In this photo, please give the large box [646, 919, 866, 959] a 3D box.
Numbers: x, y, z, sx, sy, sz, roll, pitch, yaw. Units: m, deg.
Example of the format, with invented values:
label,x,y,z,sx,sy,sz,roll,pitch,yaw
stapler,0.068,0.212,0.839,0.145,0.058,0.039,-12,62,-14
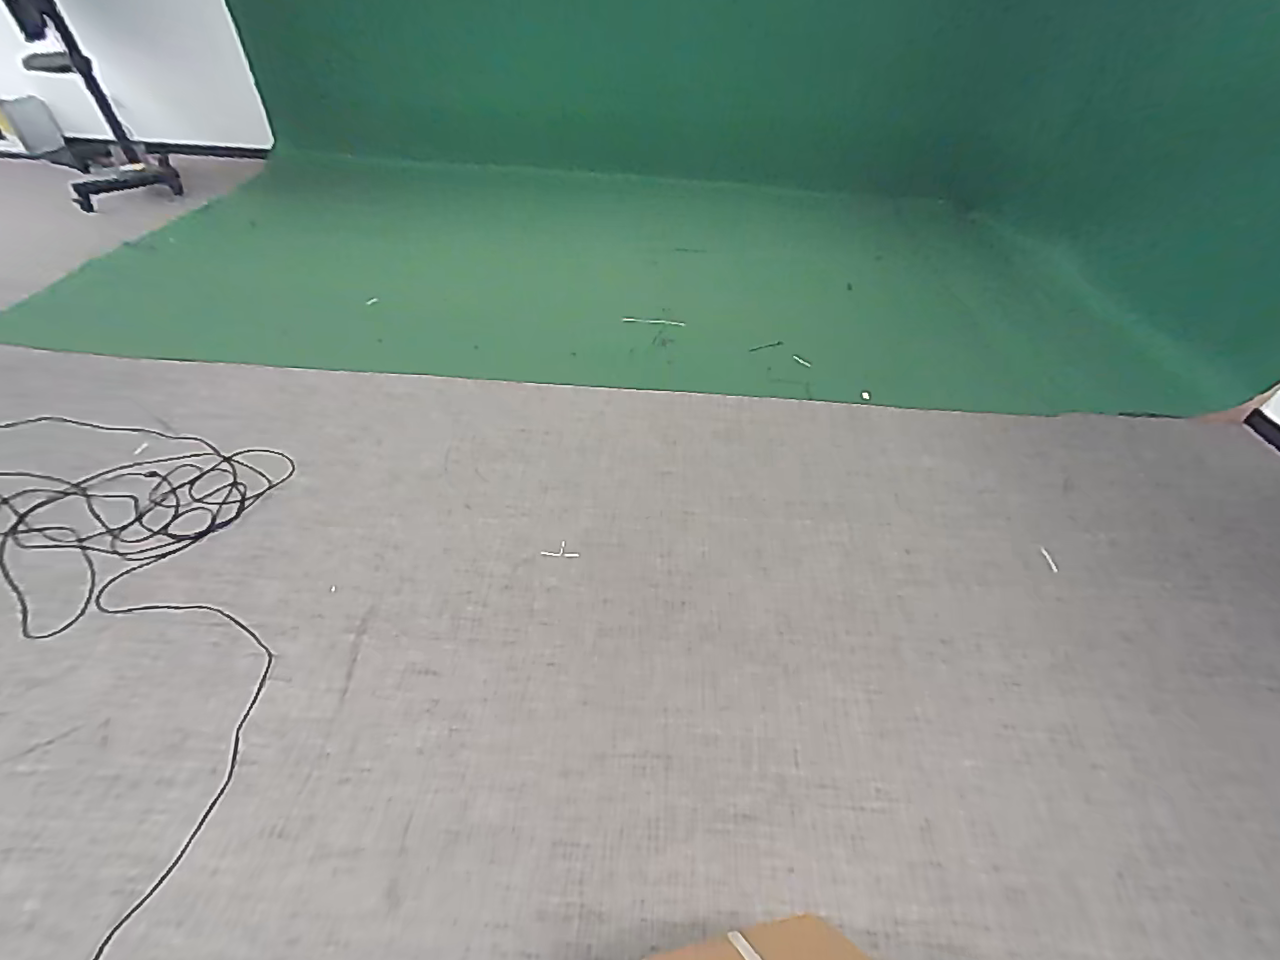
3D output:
label,x,y,z,sx,sy,sz,roll,pitch,yaw
large box,0.210,0.825,0.650,0.320,0.408,0.320,-2,73,-14
